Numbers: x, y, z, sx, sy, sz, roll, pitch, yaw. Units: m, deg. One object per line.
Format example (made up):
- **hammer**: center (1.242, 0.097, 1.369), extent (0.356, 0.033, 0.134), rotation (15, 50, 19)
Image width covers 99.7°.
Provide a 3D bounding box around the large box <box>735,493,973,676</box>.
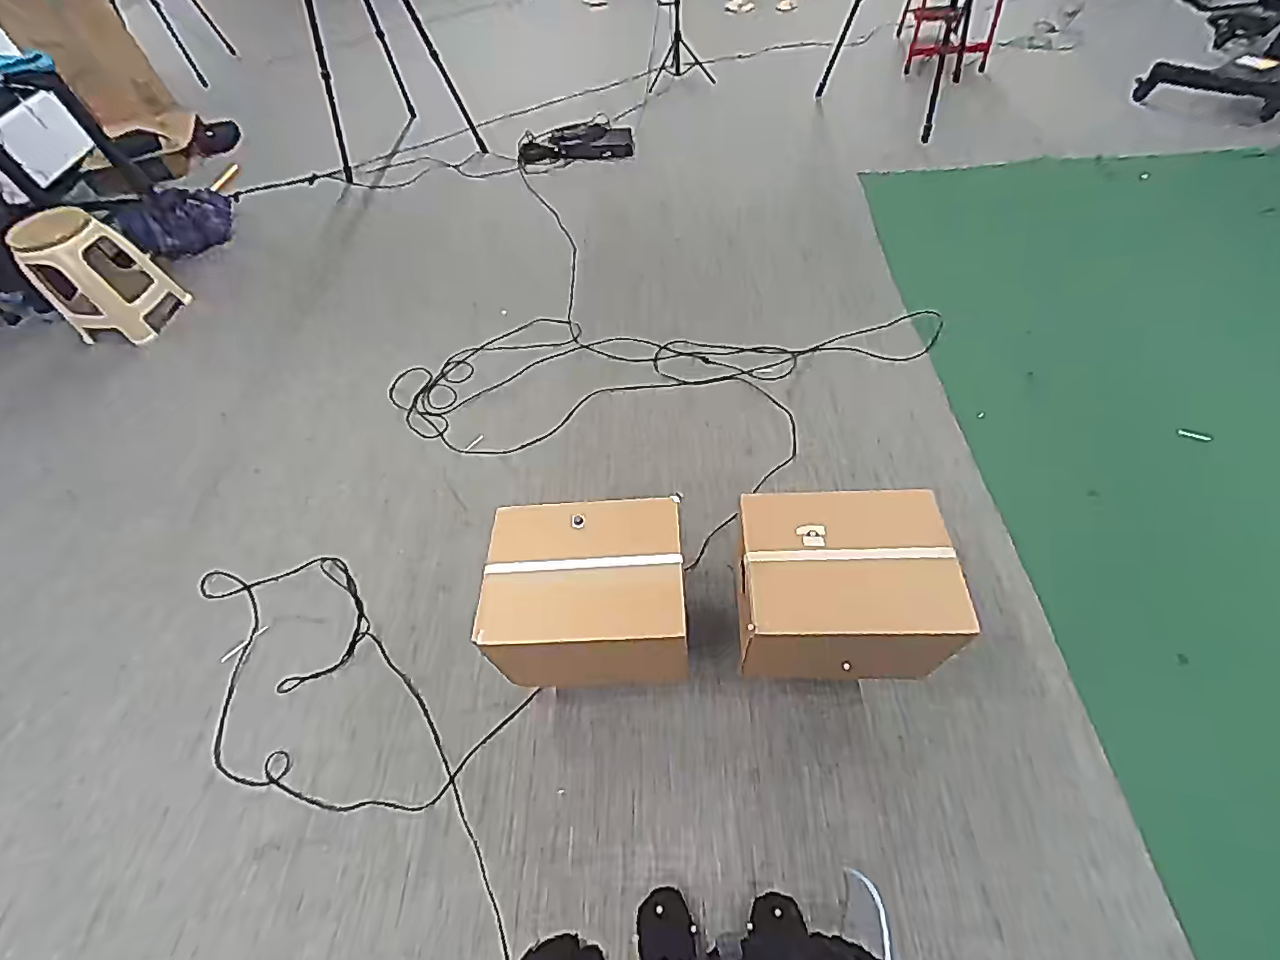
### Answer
- **large box**: center (0.431, 0.244, 1.207), extent (0.408, 0.320, 0.320), rotation (-2, 55, 5)
